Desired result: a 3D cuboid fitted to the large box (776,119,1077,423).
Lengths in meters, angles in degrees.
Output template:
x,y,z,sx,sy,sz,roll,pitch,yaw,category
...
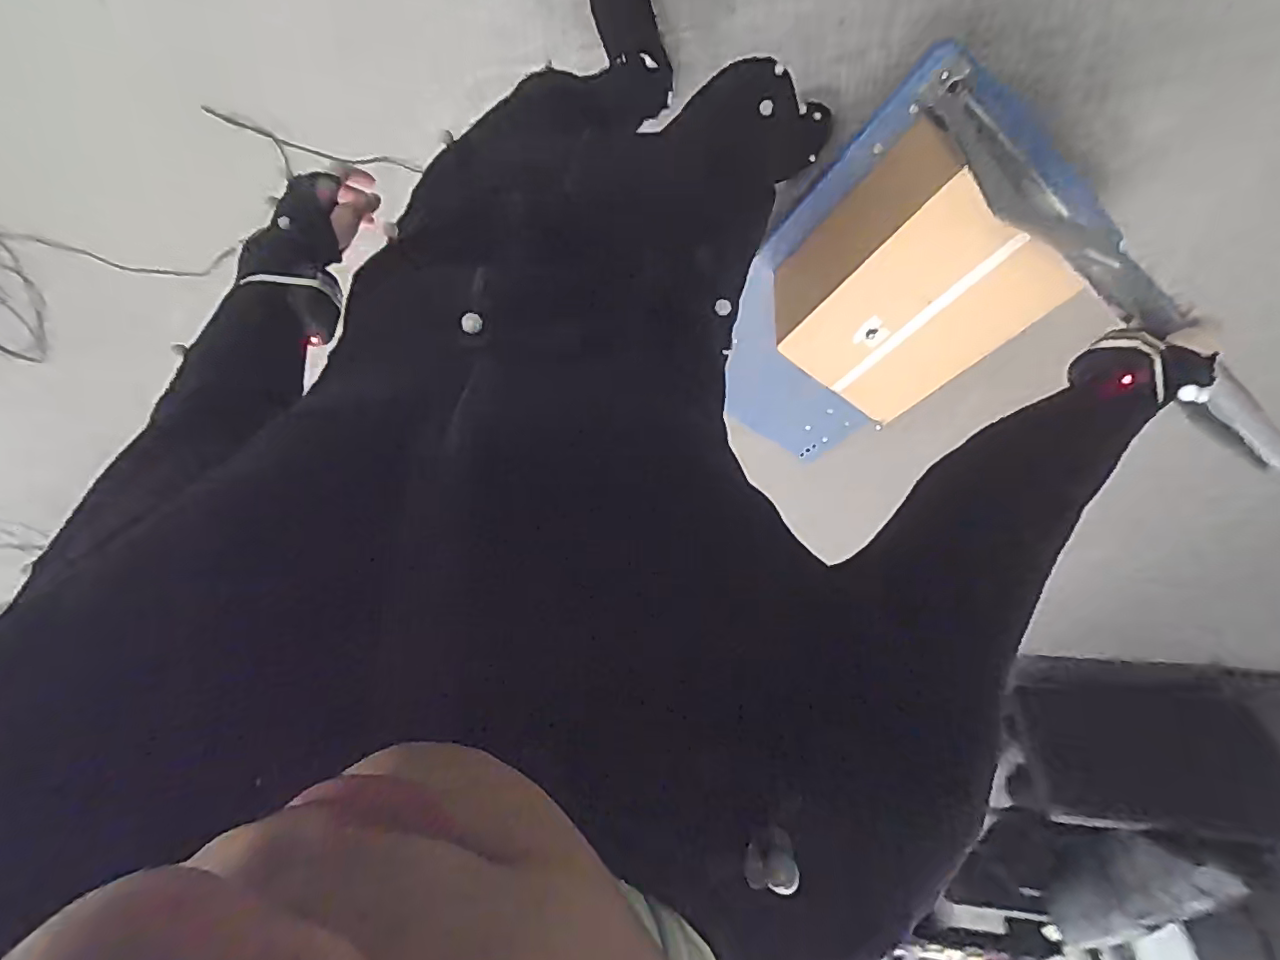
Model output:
x,y,z,sx,sy,sz,roll,pitch,yaw,category
0.524,-0.400,1.082,0.320,0.320,0.408,30,135,-18,large box
